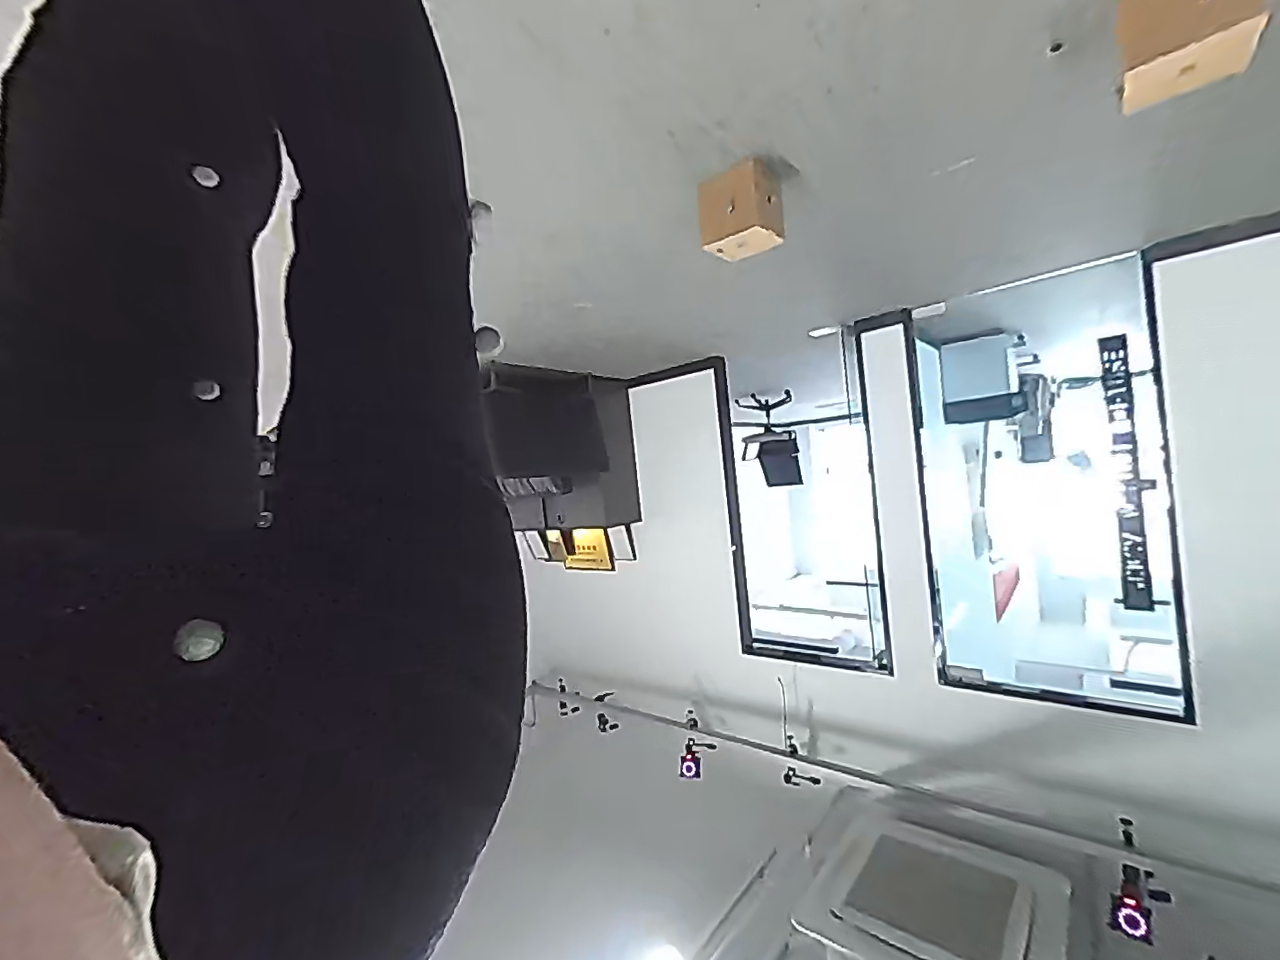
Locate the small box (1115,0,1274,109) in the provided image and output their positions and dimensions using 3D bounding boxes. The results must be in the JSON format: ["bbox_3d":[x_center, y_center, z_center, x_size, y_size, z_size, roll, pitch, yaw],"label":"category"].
[{"bbox_3d":[0.930,-0.794,0.923,0.168,0.176,0.179,-6,-179,41],"label":"small box"}]

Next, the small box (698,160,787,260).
[{"bbox_3d":[0.275,-0.726,1.461,0.179,0.176,0.168,-6,180,40],"label":"small box"}]
